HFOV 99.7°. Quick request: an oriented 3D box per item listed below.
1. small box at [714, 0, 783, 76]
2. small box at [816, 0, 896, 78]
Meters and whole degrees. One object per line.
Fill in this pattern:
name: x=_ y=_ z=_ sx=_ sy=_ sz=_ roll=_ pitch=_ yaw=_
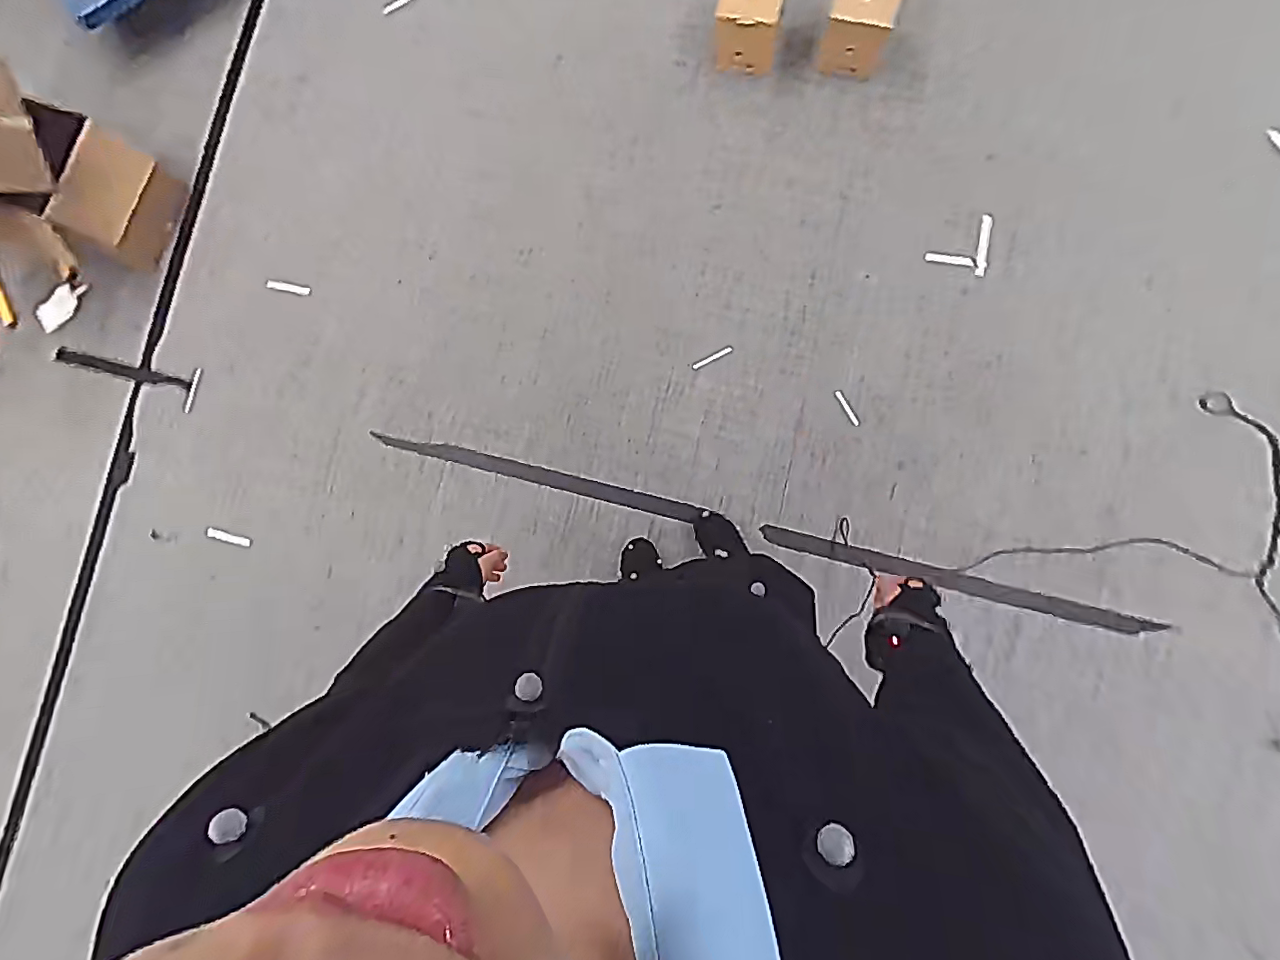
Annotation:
small box: x=0.310 y=-1.311 z=1.544 sx=0.168 sy=0.176 sz=0.179 roll=14 pitch=86 yaw=8
small box: x=0.602 y=-1.271 z=1.503 sx=0.168 sy=0.176 sz=0.179 roll=17 pitch=86 yaw=7
